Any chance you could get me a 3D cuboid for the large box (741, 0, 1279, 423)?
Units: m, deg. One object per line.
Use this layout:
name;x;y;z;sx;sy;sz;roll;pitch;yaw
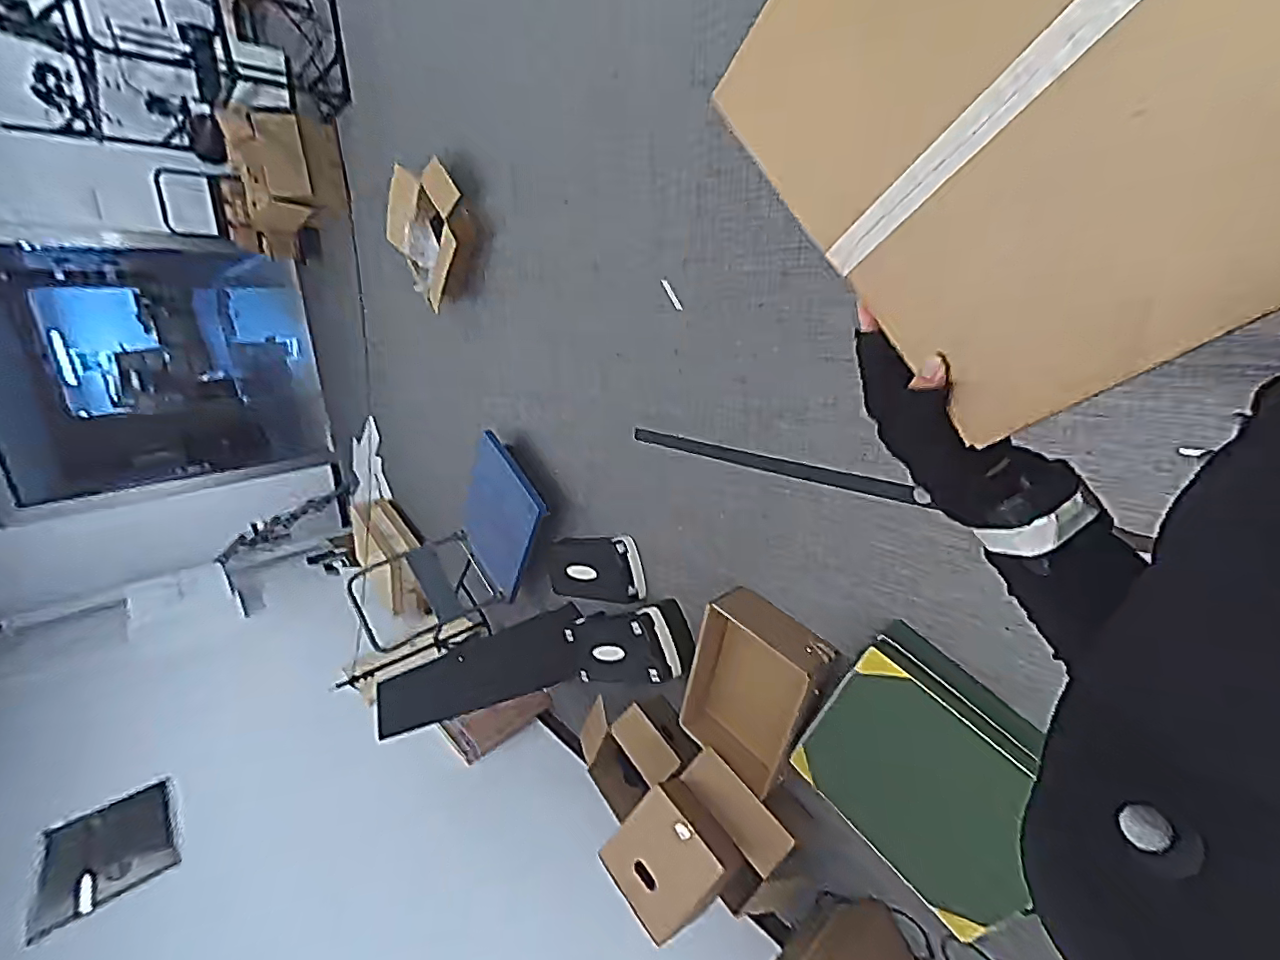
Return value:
large box;0.346;-0.295;0.314;0.320;0.320;0.408;57;142;5
